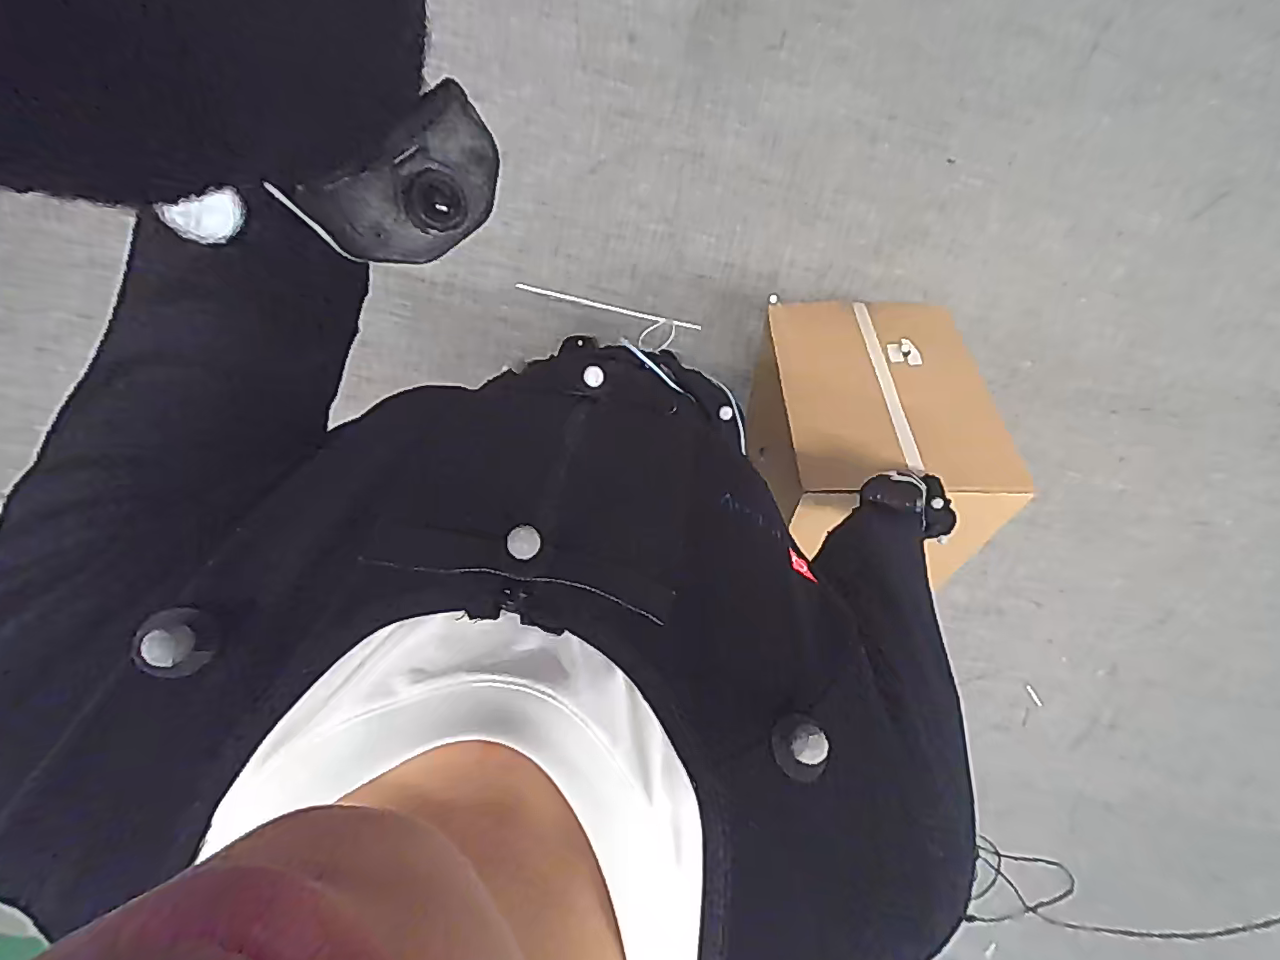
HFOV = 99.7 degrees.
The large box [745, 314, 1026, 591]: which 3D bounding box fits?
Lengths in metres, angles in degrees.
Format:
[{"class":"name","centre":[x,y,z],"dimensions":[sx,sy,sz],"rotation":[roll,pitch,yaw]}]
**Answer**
[{"class":"large box","centre":[0.380,-0.046,0.972],"dimensions":[0.320,0.408,0.320],"rotation":[1,143,1]}]
